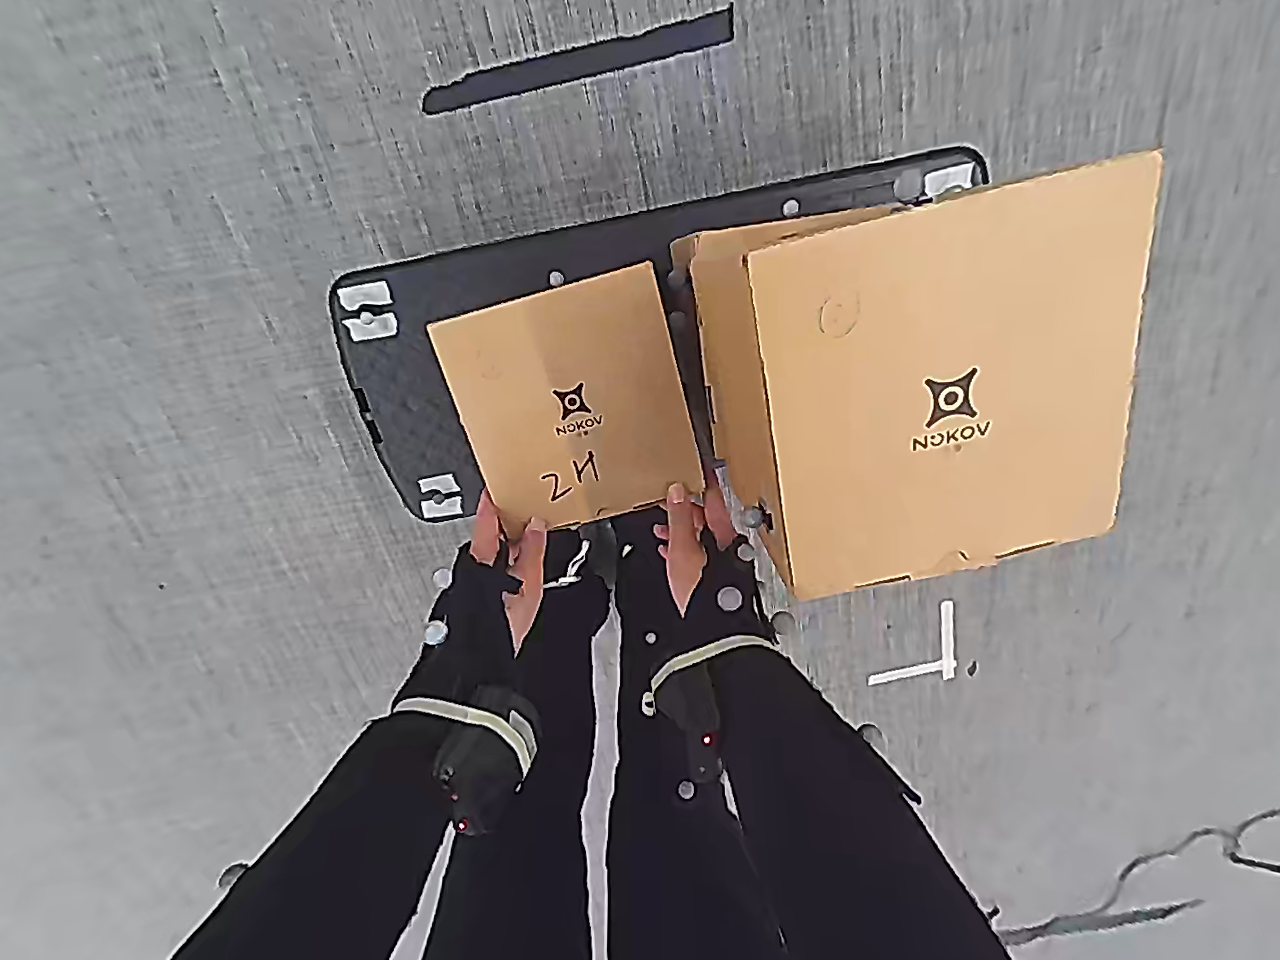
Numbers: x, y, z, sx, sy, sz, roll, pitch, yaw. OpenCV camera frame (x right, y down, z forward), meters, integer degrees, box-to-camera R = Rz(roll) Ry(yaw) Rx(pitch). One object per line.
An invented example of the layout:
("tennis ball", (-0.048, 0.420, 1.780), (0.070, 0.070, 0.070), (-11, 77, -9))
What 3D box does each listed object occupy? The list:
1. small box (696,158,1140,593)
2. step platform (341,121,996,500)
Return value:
("small box", (0.137, -0.065, 0.326), (0.168, 0.176, 0.179), (-13, 113, 2))
("step platform", (0.036, -0.185, 0.635), (0.684, 0.204, 0.286), (-11, 111, 2))
